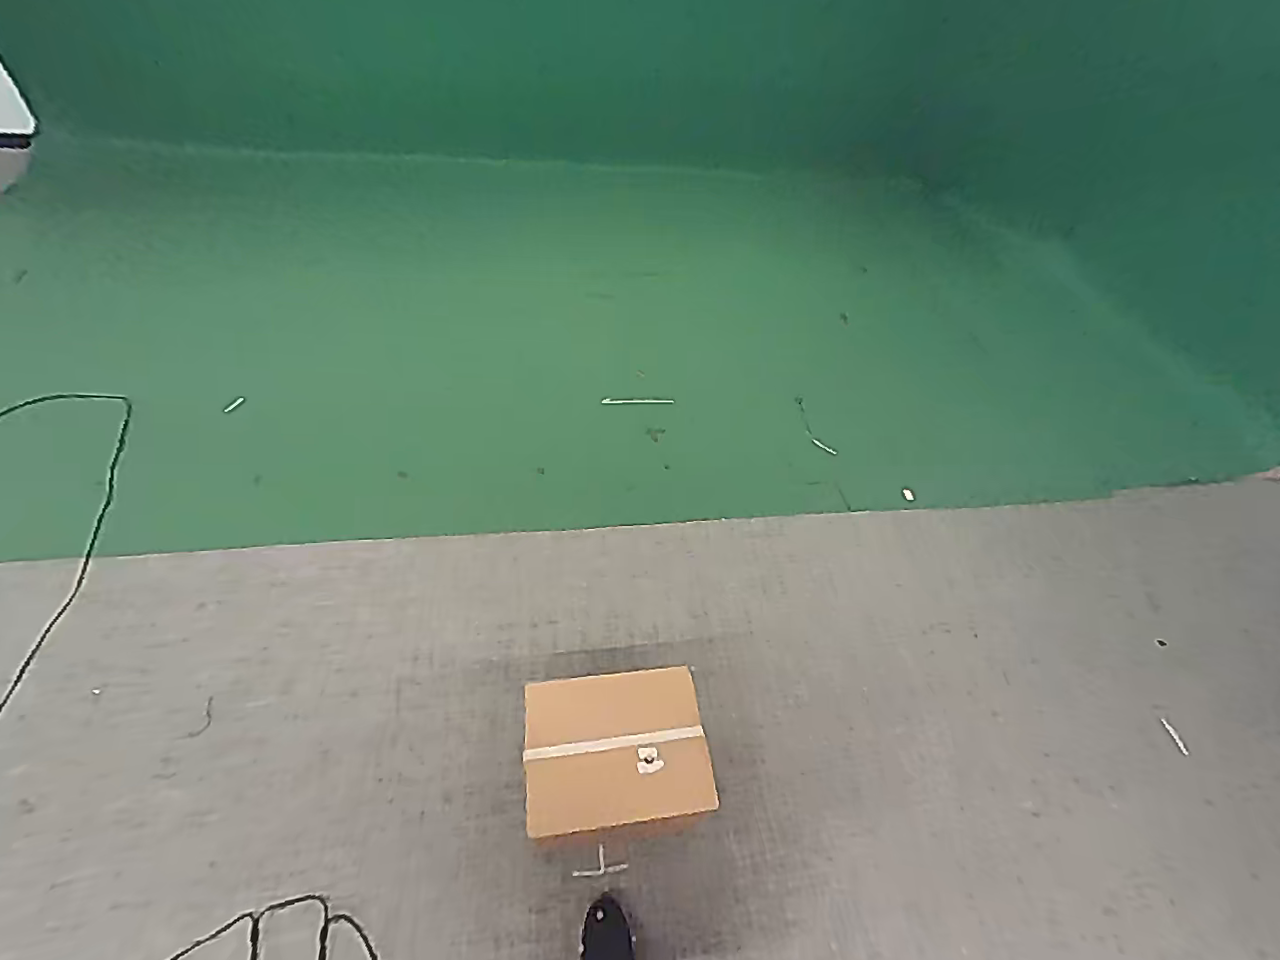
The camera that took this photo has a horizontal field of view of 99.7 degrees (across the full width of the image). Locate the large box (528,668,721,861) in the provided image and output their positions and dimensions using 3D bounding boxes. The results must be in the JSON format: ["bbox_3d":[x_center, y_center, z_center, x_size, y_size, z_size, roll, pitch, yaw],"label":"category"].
[{"bbox_3d":[-0.059,0.698,1.331,0.408,0.320,0.320,-4,50,-10],"label":"large box"}]
